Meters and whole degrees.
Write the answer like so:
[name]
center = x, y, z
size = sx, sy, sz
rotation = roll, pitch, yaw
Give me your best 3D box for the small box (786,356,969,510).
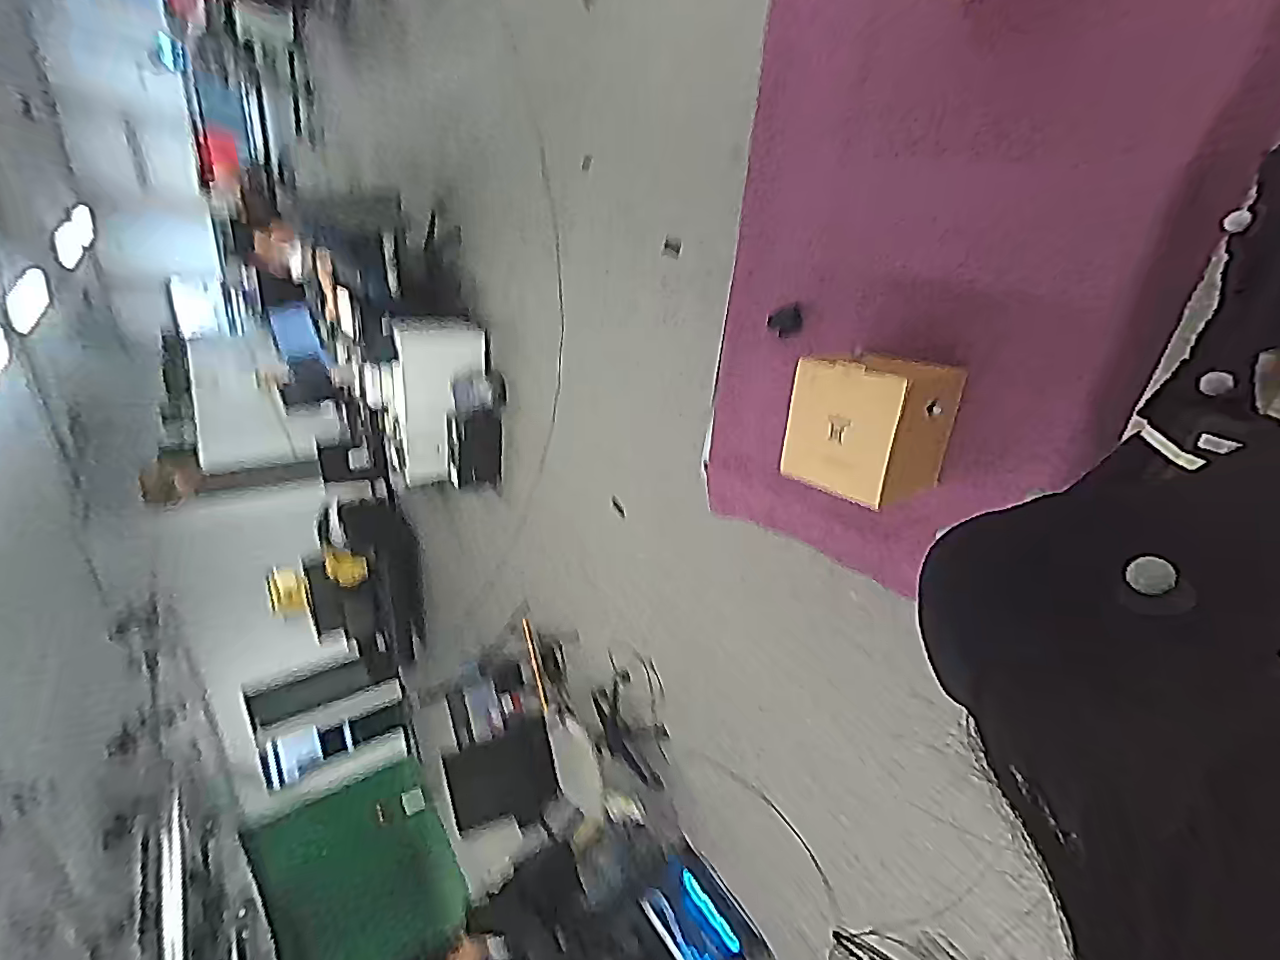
[small box]
center = 0.339, -0.079, 0.777
size = 0.168, 0.176, 0.179
rotation = 27, 122, 49
